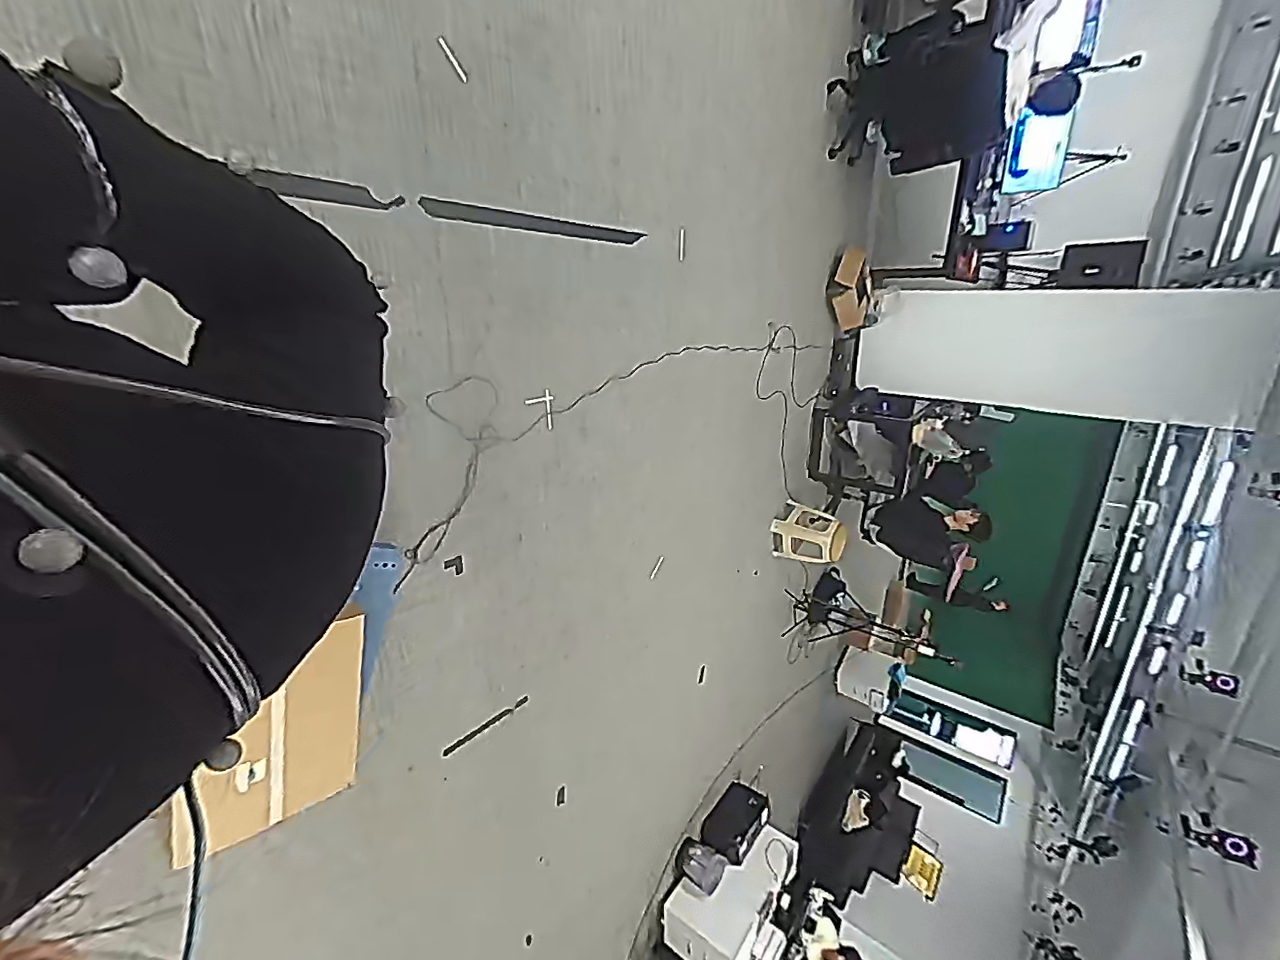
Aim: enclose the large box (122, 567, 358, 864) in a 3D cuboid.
[{"bbox_3d":[-0.815,0.436,1.108,0.320,0.320,0.408,-4,106,-52],"label":"large box"}]
